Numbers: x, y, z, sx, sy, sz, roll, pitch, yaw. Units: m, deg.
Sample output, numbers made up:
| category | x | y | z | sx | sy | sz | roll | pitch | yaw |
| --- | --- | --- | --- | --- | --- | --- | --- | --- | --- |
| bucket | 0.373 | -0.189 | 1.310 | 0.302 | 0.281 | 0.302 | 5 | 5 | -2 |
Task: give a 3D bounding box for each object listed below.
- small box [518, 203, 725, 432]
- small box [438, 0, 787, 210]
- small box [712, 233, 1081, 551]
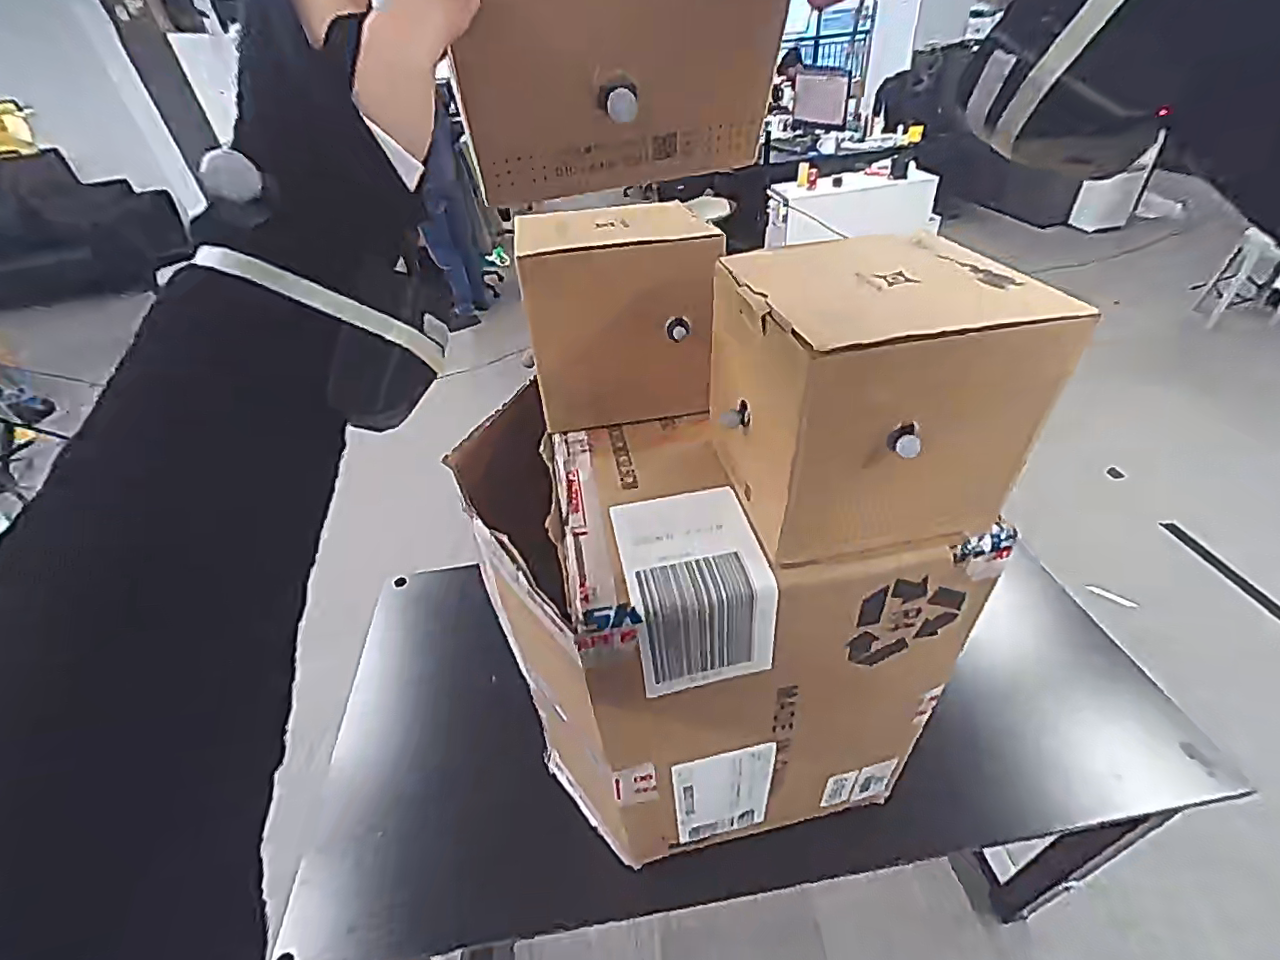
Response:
| category | x | y | z | sx | sy | sz | roll | pitch | yaw |
| --- | --- | --- | --- | --- | --- | --- | --- | --- | --- |
| small box | -0.022 | -0.168 | 0.553 | 0.179 | 0.176 | 0.168 | -10 | 37 | -6 |
| small box | -0.029 | -0.283 | 0.293 | 0.168 | 0.176 | 0.179 | -14 | 64 | -9 |
| small box | 0.160 | -0.066 | 0.410 | 0.179 | 0.176 | 0.168 | -10 | 42 | -6 |
